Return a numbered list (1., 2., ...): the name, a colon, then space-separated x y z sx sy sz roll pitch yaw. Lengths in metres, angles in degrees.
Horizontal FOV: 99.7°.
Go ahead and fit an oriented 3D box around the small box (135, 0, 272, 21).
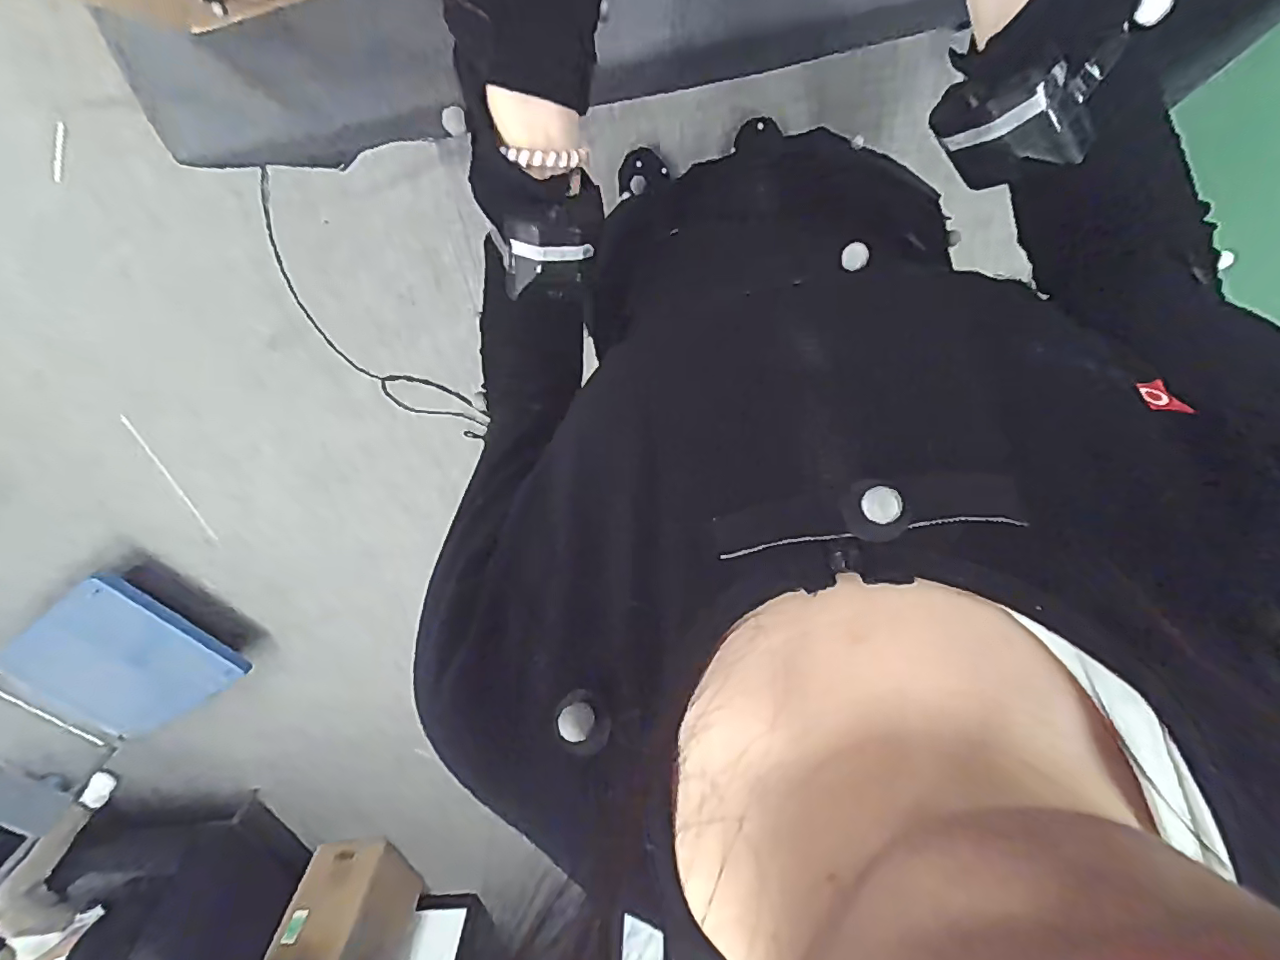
1. small box: -0.384 -0.492 0.410 0.168 0.176 0.179 -9 121 8
